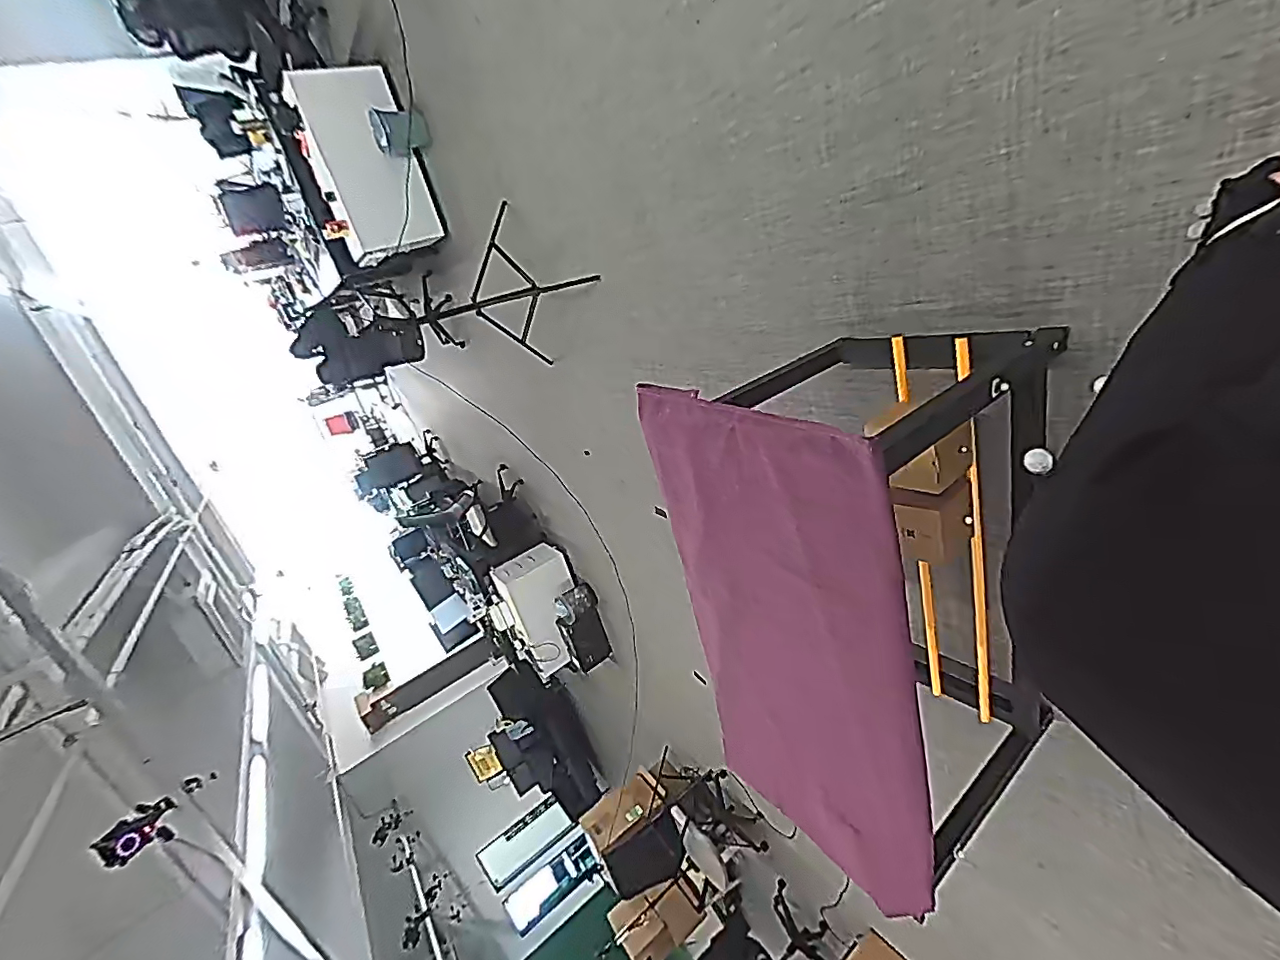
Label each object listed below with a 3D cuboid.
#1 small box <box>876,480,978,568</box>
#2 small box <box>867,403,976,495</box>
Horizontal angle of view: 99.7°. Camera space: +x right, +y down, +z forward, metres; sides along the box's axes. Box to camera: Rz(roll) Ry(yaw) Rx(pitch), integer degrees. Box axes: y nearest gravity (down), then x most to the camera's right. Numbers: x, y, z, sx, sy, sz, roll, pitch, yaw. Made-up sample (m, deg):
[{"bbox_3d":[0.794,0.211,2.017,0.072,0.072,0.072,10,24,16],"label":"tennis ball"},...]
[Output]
[{"bbox_3d":[0.750,0.100,1.411,0.179,0.176,0.168,14,127,53],"label":"small box"},{"bbox_3d":[0.694,-0.083,1.332,0.179,0.176,0.168,14,128,54],"label":"small box"}]
